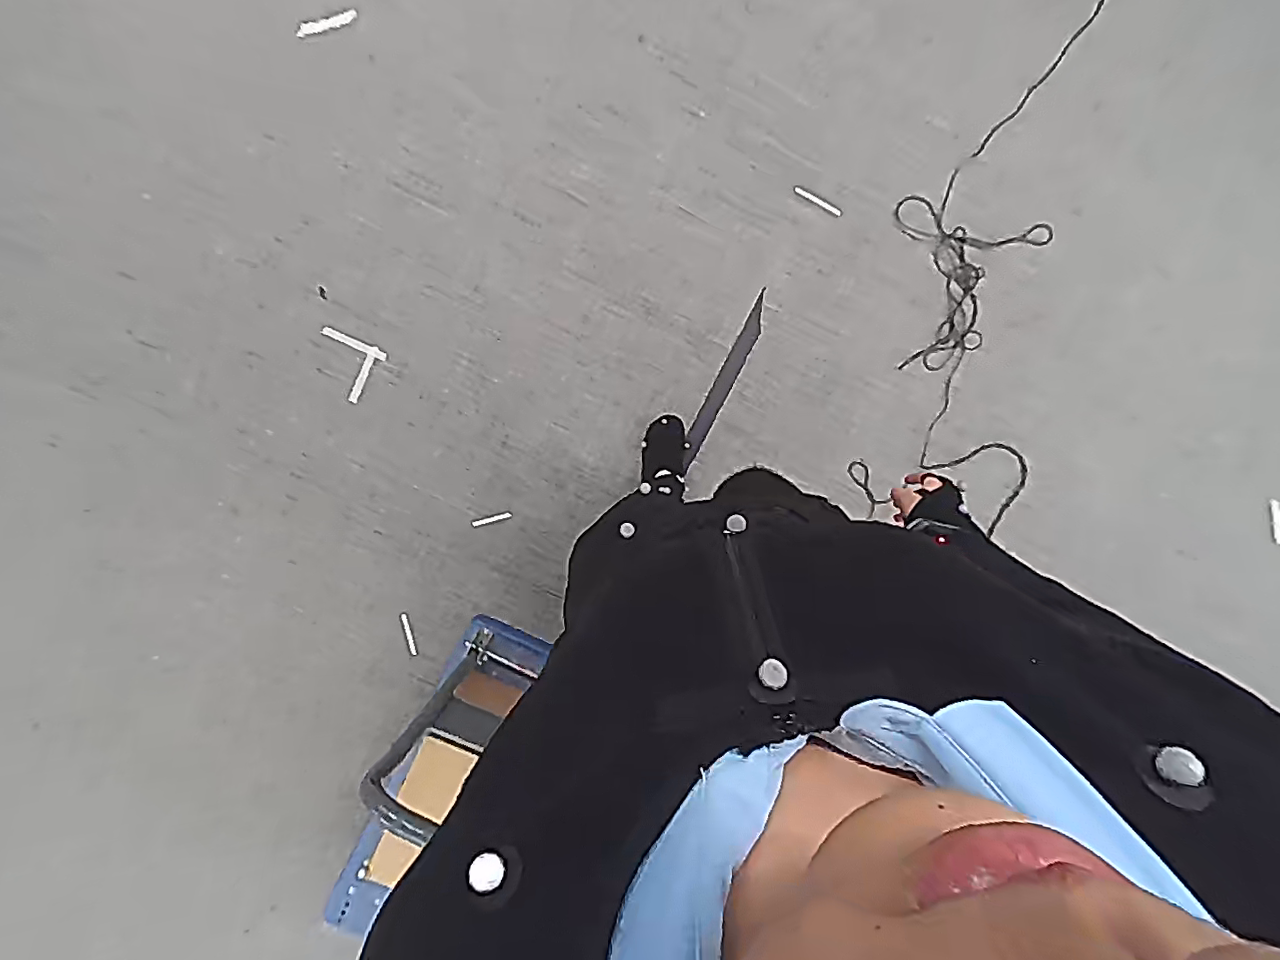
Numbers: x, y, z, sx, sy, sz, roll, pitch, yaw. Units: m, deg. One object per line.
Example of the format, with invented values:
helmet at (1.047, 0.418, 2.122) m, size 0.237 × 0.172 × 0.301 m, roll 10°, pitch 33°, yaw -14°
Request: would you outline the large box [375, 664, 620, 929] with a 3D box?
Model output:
large box at (-0.285, 0.676, 1.211) m, size 0.408 × 0.320 × 0.320 m, roll 23°, pitch 92°, yaw -2°
